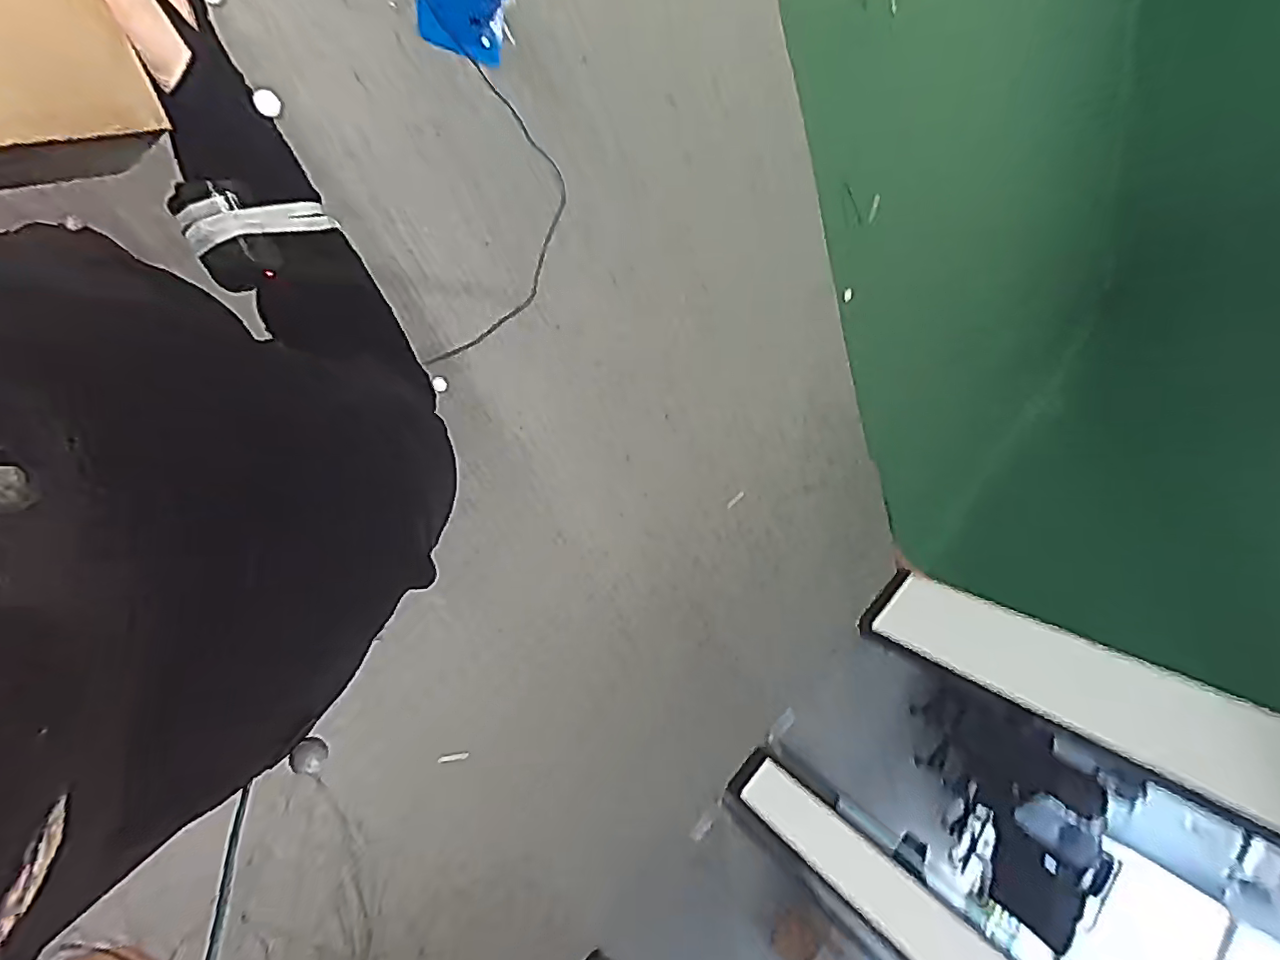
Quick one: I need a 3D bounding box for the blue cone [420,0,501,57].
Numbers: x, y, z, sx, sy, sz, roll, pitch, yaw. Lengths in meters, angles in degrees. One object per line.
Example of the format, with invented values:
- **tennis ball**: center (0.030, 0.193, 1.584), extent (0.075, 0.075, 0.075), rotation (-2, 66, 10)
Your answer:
- **blue cone**: center (-0.313, -1.065, 1.123), extent (0.193, 0.380, 0.192), rotation (-9, 111, -37)
